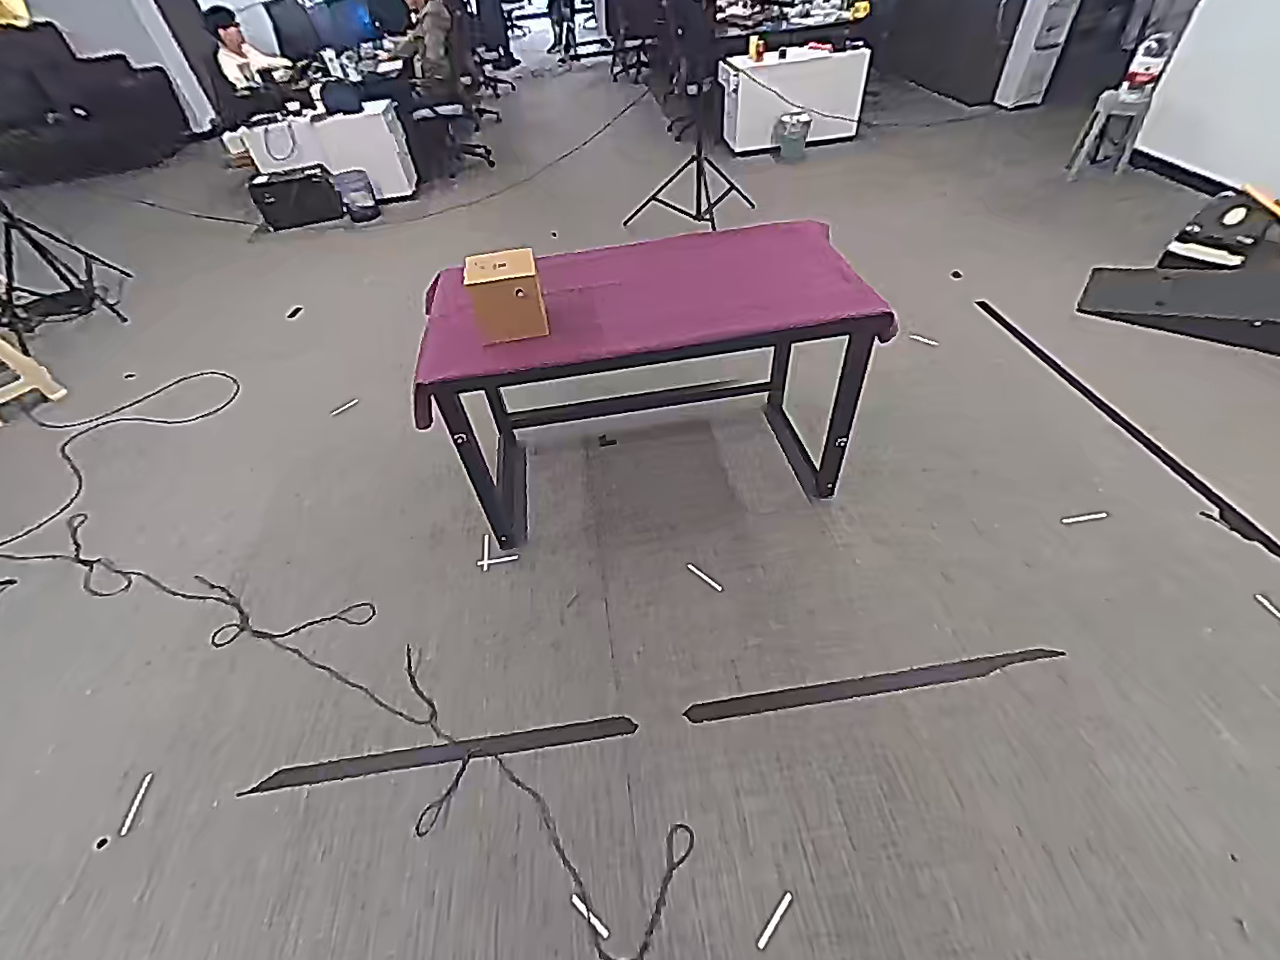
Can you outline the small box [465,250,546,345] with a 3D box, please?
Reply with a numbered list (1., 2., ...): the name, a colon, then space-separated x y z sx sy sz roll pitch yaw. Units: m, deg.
1. small box: -0.344 -0.475 1.411 0.179 0.176 0.168 -11 45 -4
